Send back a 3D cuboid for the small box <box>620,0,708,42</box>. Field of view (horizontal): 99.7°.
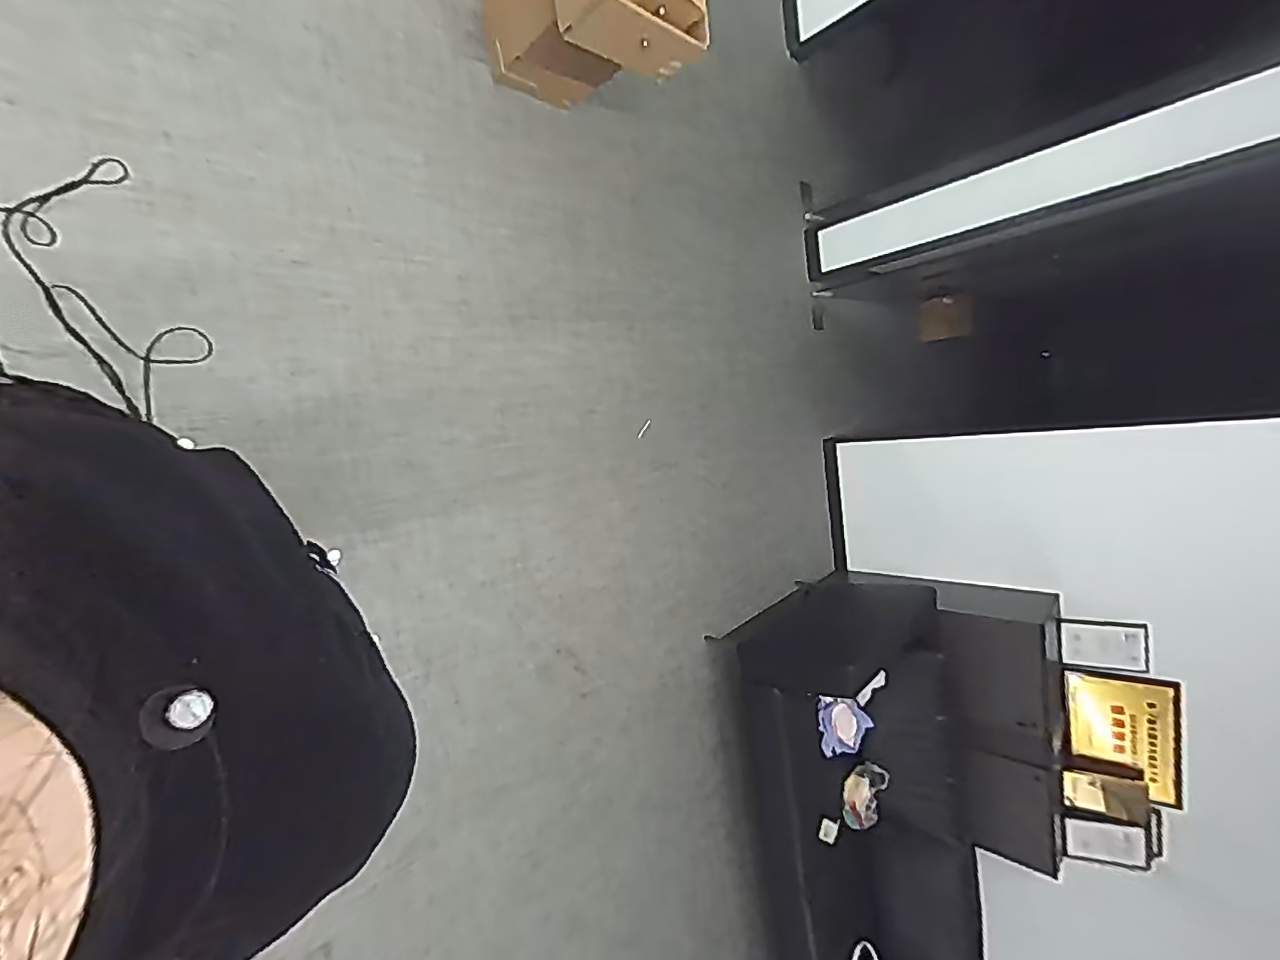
[{"bbox_3d":[0.058,-1.319,1.431,0.179,0.176,0.168,-5,94,-43],"label":"small box"}]
